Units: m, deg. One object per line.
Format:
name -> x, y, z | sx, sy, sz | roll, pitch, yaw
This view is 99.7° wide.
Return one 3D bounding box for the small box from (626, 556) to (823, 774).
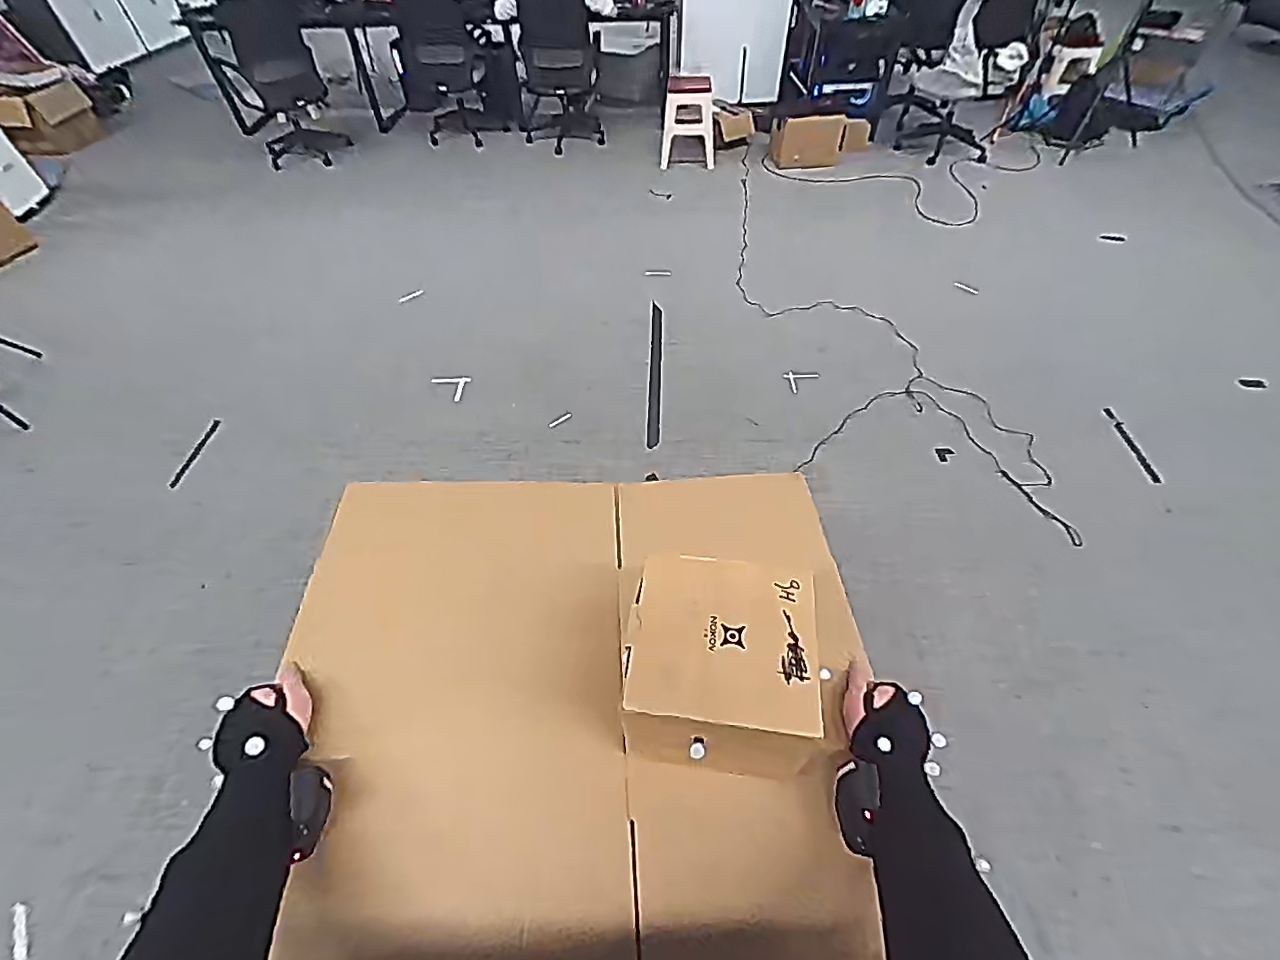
small box -> 0.089, 0.202, 0.584 | 0.179, 0.176, 0.168 | 4, 50, 8
